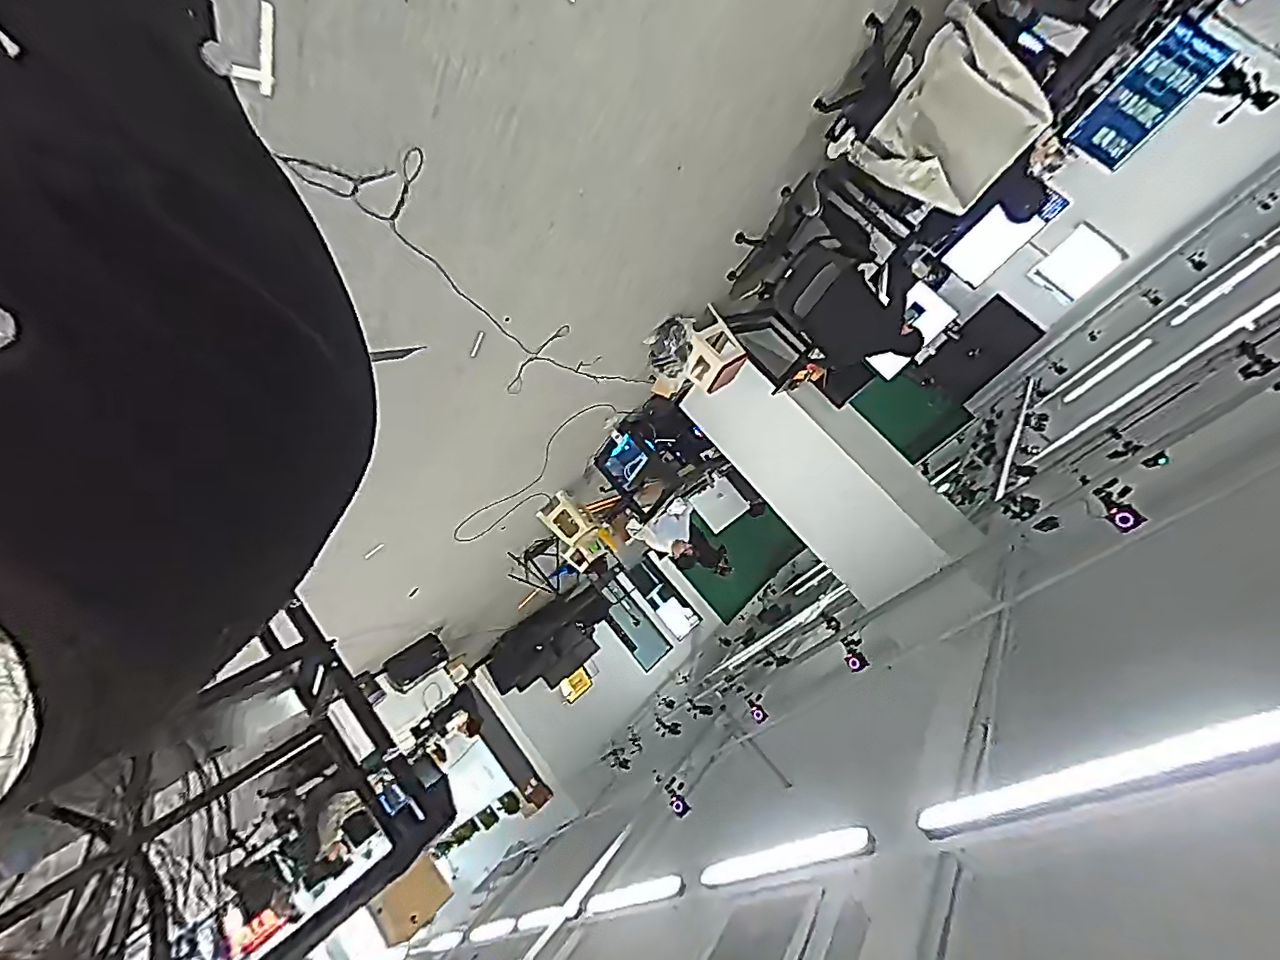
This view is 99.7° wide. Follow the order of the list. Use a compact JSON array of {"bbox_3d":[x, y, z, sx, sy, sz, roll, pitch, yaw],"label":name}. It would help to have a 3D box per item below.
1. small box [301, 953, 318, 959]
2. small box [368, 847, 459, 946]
[{"bbox_3d":[-0.930,1.416,1.445,0.179,0.176,0.168,-27,163,-45],"label":"small box"},{"bbox_3d":[-0.718,1.309,1.709,0.168,0.176,0.179,-45,167,31],"label":"small box"}]
